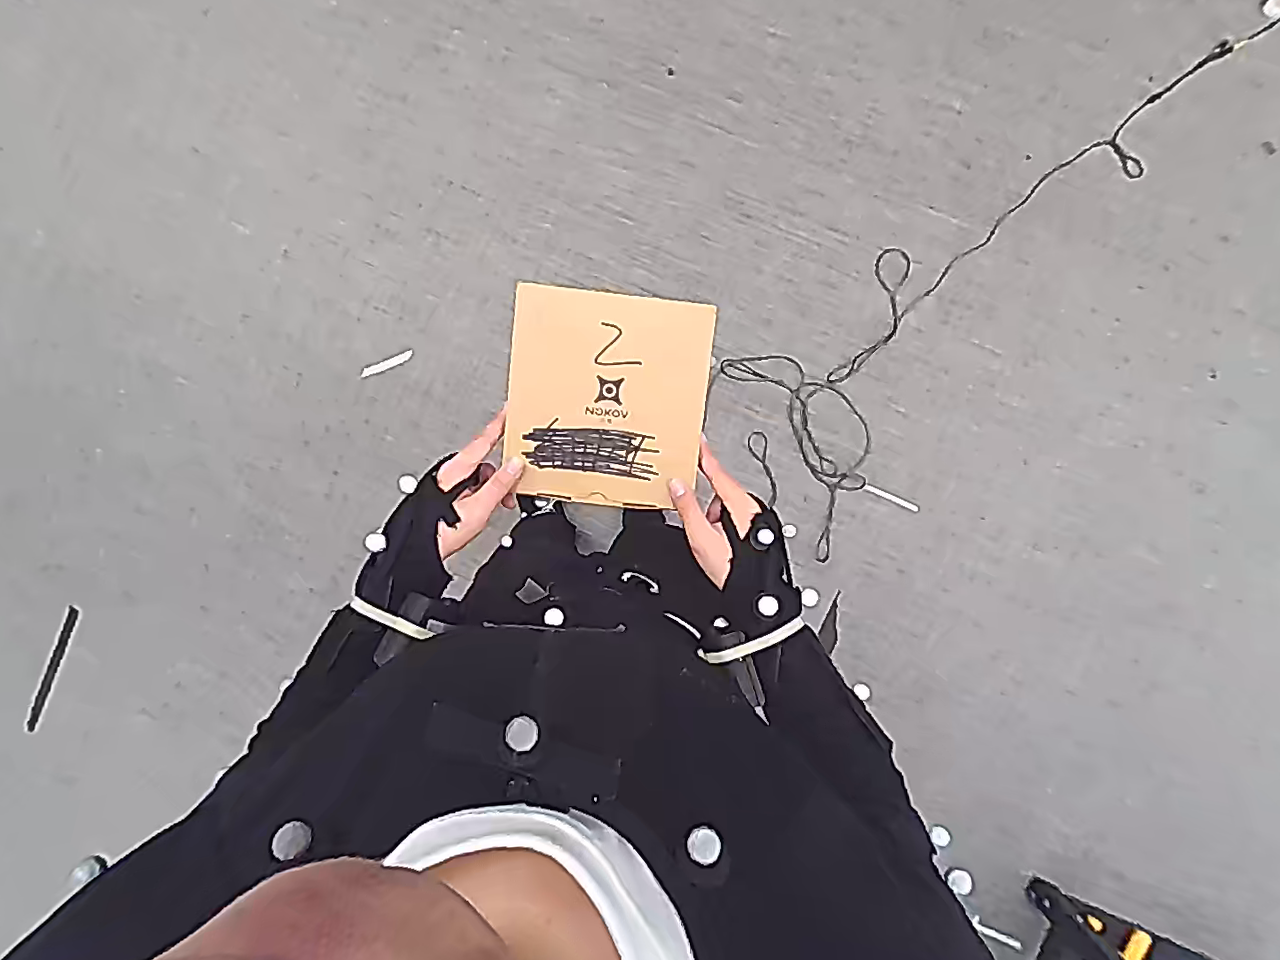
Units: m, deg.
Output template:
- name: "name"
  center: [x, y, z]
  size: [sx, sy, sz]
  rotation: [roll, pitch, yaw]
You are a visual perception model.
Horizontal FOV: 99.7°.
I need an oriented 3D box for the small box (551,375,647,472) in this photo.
- name: "small box"
  center: [-0.088, -0.126, 1.289]
  size: [0.168, 0.176, 0.179]
  rotation: [22, 92, 4]
